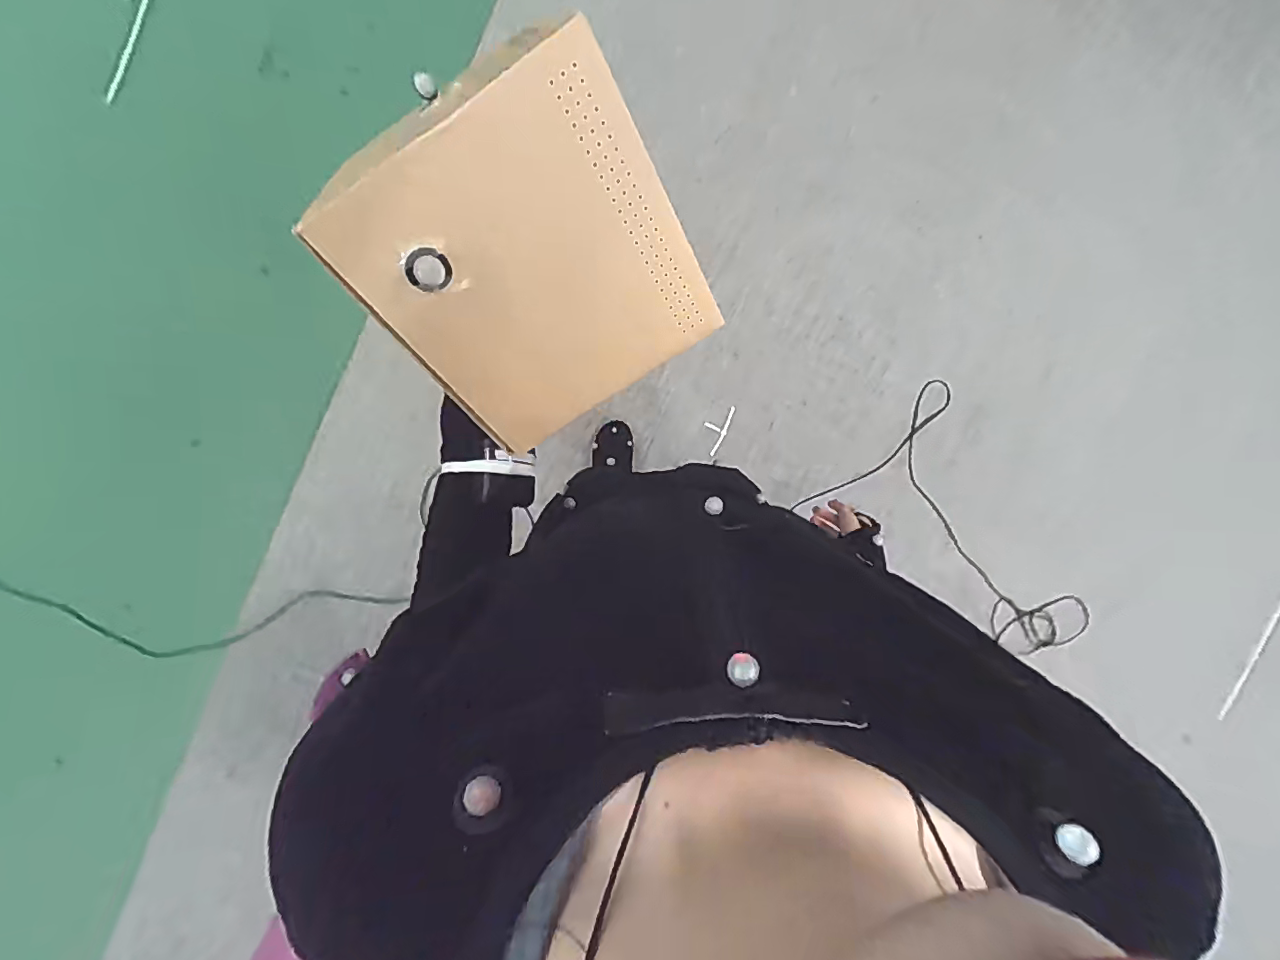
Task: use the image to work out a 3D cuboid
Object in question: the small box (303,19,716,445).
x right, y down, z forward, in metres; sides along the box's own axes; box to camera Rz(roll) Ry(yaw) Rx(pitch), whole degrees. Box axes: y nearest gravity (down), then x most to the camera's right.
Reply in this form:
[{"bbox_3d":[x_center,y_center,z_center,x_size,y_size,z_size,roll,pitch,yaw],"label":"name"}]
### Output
[{"bbox_3d":[-0.075,-0.165,0.362,0.176,0.168,0.179,-31,132,8],"label":"small box"}]
